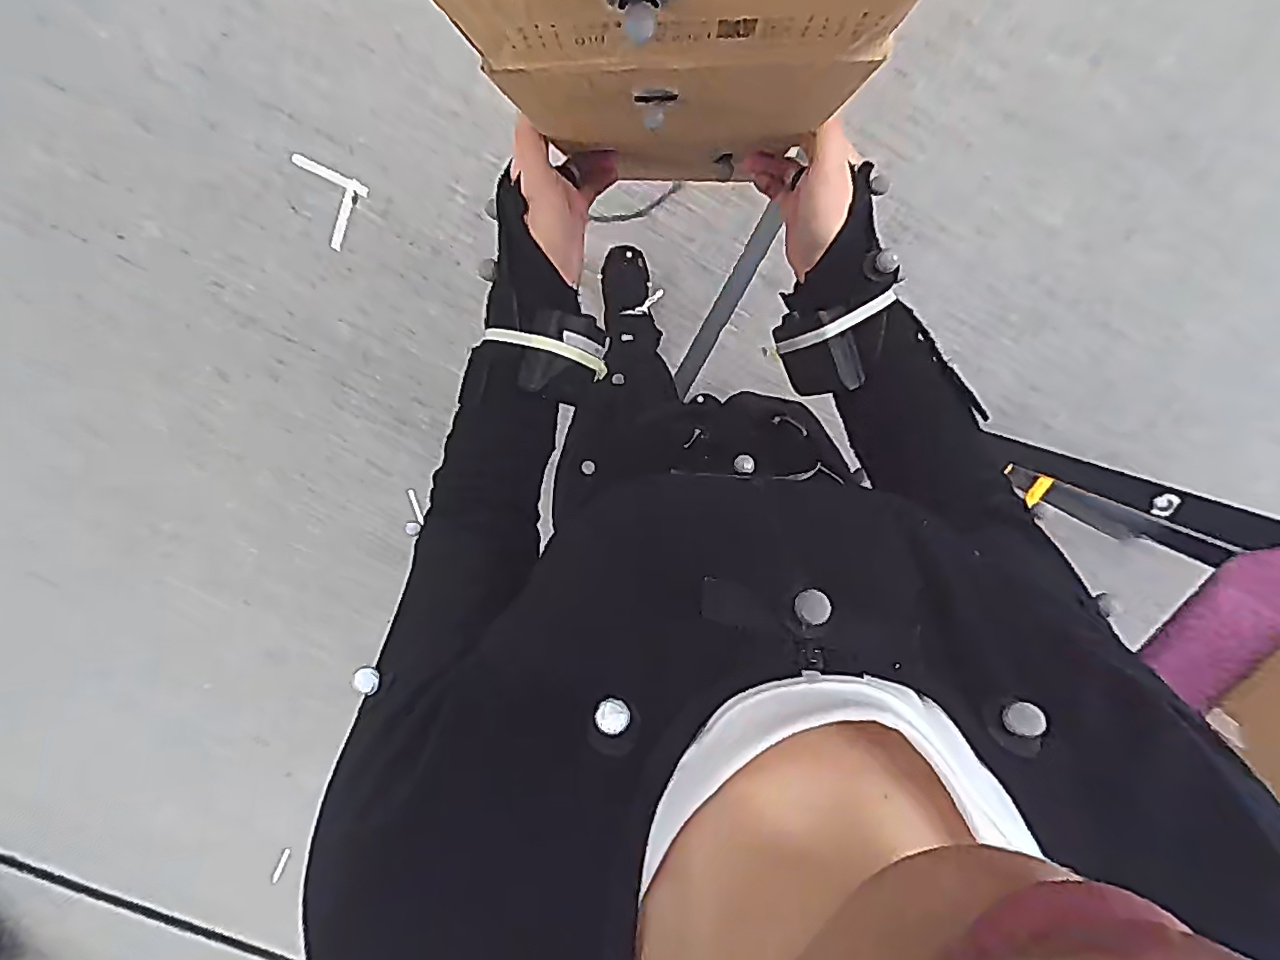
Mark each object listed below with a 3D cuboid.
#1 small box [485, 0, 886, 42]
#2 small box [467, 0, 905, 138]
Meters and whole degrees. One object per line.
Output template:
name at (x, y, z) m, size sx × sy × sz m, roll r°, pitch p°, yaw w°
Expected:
small box at (0.010, -0.231, 0.111) m, size 0.168 × 0.176 × 0.179 m, roll 0°, pitch 112°, yaw 4°
small box at (0.022, -0.280, 0.265) m, size 0.179 × 0.176 × 0.168 m, roll 1°, pitch 111°, yaw 3°
